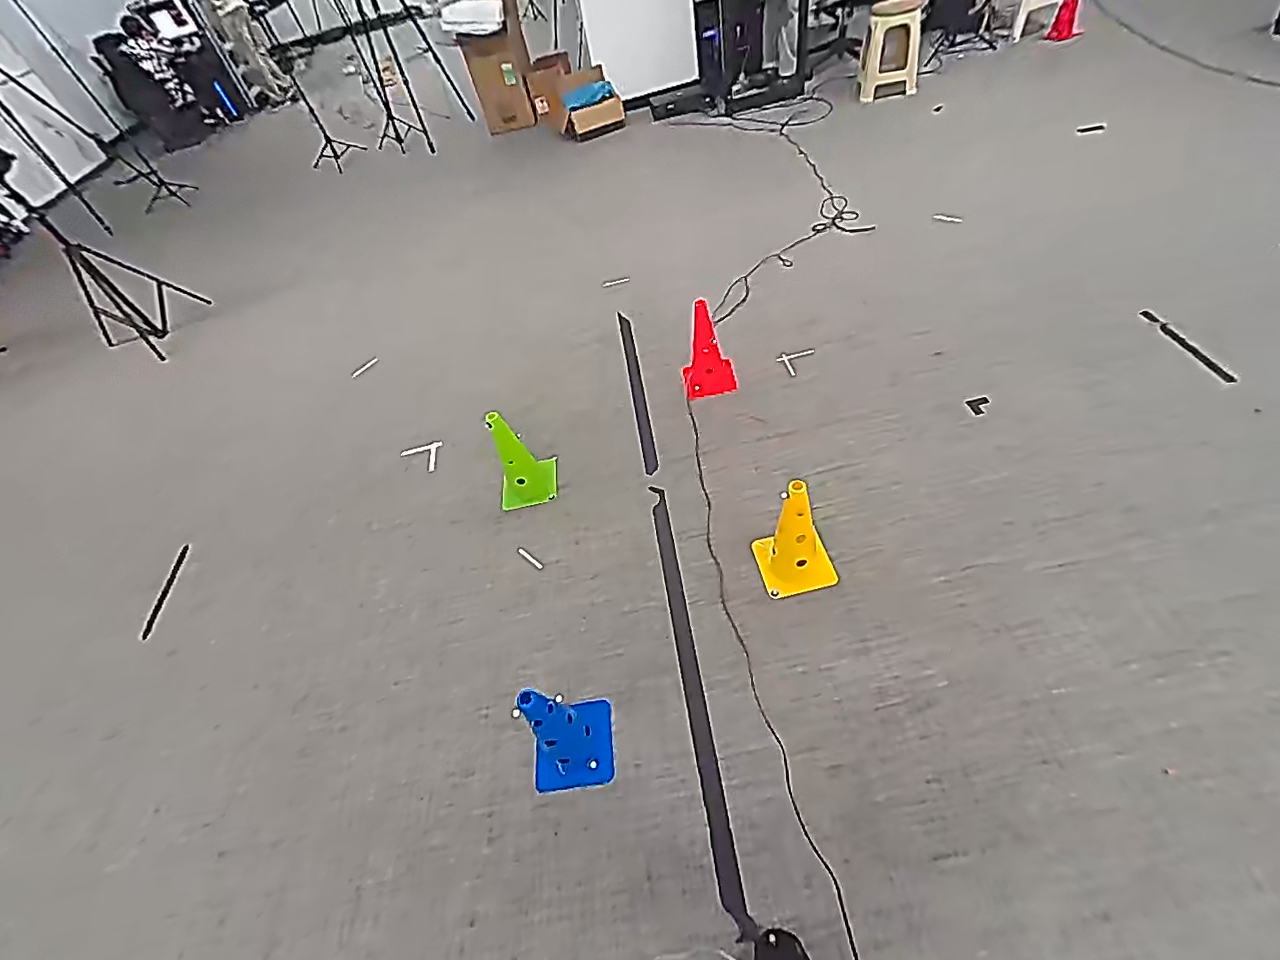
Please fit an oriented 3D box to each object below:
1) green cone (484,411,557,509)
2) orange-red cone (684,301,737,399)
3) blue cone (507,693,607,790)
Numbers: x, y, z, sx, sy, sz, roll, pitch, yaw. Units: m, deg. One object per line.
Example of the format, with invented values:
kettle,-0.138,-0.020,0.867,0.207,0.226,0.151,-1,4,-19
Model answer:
green cone,-0.434,-0.098,1.840,0.202,0.368,0.200,-13,49,4
orange-red cone,0.247,-0.507,2.018,0.199,0.360,0.198,-8,51,6
blue cone,-0.210,0.569,1.248,0.192,0.380,0.193,-10,49,7
